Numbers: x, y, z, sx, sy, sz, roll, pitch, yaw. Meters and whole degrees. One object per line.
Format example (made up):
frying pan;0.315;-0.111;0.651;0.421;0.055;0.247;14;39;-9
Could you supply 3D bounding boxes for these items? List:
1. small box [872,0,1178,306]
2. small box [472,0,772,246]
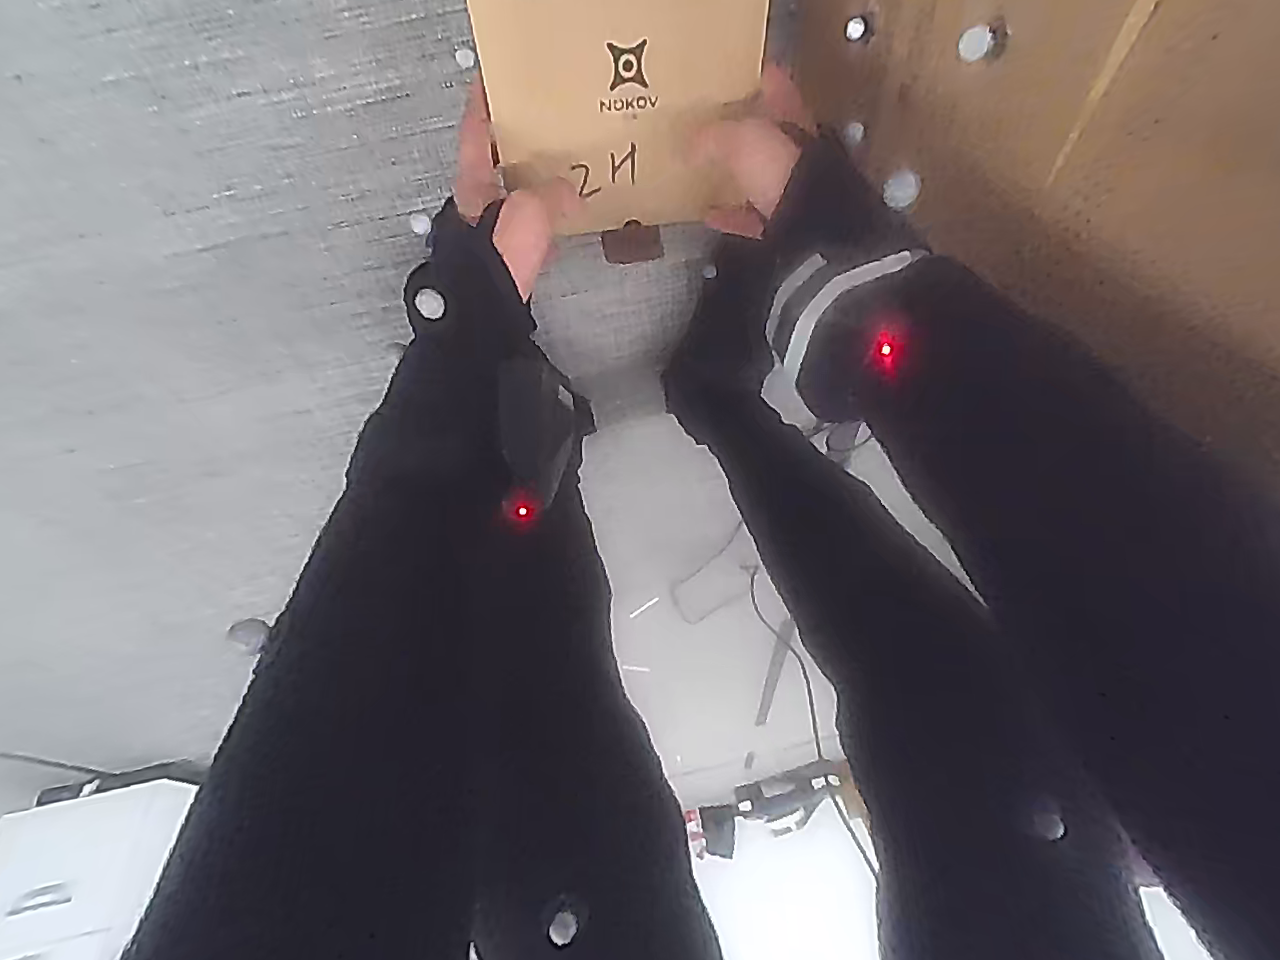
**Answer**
small box;0.257;-0.224;0.294;0.179;0.176;0.168;-11;142;-3
small box;-0.020;-0.289;0.369;0.168;0.176;0.179;-8;139;-5
